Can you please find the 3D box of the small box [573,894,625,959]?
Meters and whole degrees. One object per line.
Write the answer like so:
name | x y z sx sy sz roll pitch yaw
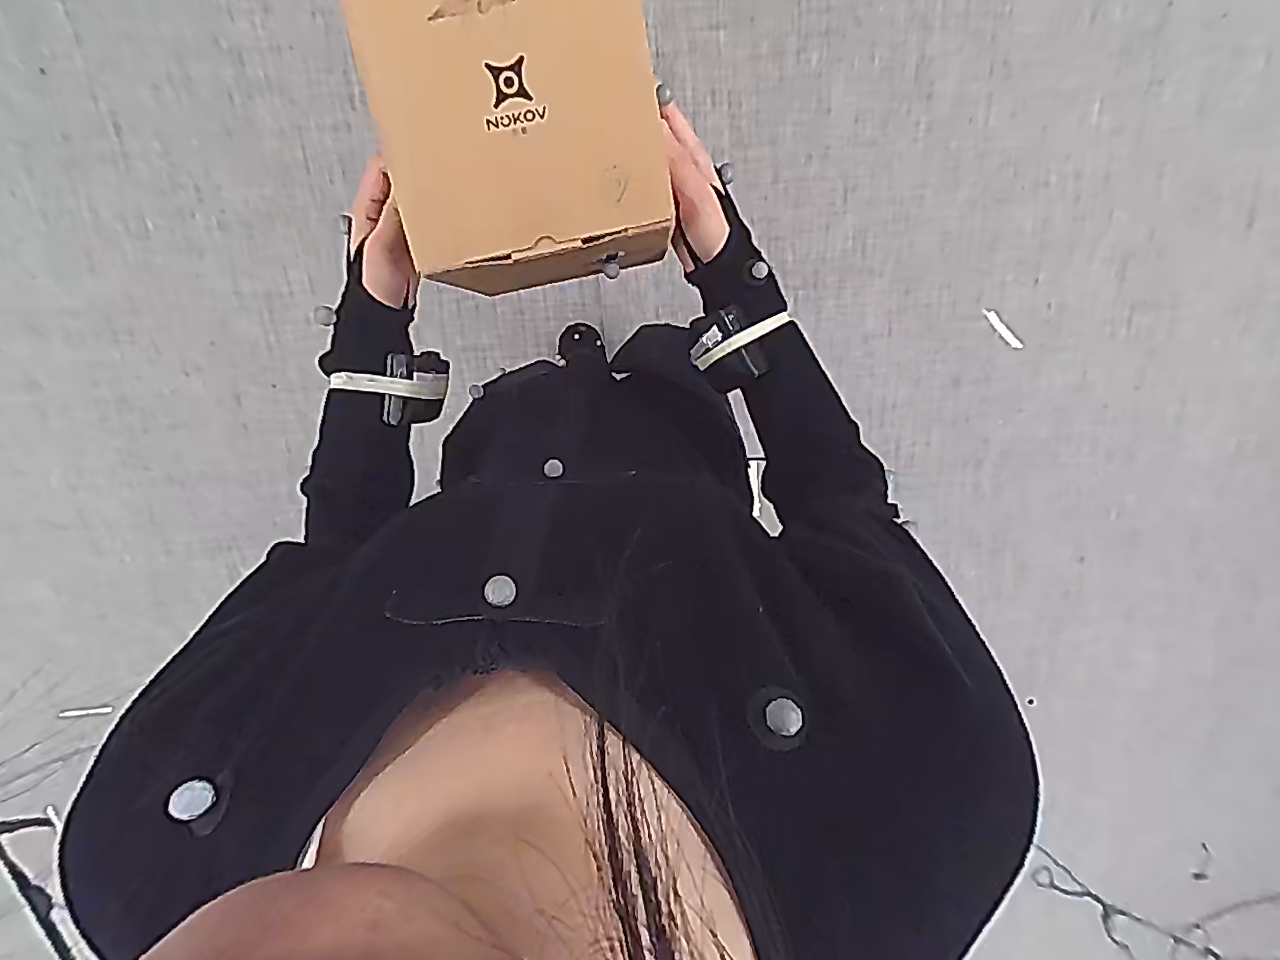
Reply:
small box | -0.138 1.586 1.871 0.168 0.176 0.179 -6 106 -3

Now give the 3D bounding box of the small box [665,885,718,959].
small box | 0.178 1.565 1.889 0.168 0.176 0.179 -4 107 -3
